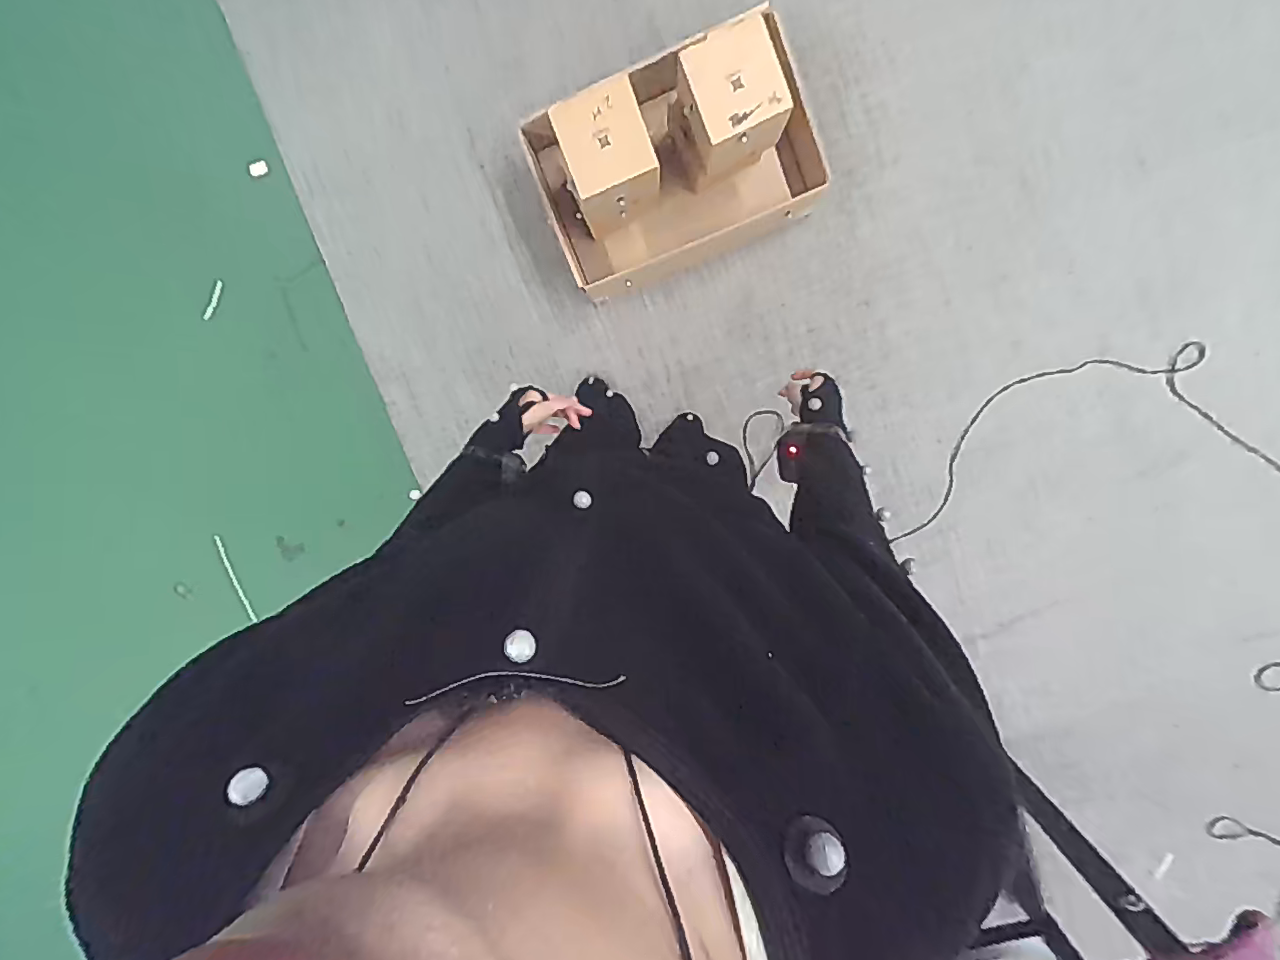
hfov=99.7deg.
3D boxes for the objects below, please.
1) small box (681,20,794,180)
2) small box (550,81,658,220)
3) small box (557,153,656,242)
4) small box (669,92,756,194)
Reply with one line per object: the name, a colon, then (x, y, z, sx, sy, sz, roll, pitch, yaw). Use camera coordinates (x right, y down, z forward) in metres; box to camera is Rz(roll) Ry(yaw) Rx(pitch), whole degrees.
small box: (0.185, -0.747, 1.086, 0.168, 0.176, 0.179, -22, 97, 7)
small box: (-0.064, -0.659, 1.112, 0.168, 0.176, 0.179, -20, 99, 5)
small box: (-0.070, -0.690, 1.273, 0.179, 0.176, 0.168, -25, 98, 5)
small box: (0.177, -0.794, 1.242, 0.179, 0.176, 0.168, -25, 97, 5)
